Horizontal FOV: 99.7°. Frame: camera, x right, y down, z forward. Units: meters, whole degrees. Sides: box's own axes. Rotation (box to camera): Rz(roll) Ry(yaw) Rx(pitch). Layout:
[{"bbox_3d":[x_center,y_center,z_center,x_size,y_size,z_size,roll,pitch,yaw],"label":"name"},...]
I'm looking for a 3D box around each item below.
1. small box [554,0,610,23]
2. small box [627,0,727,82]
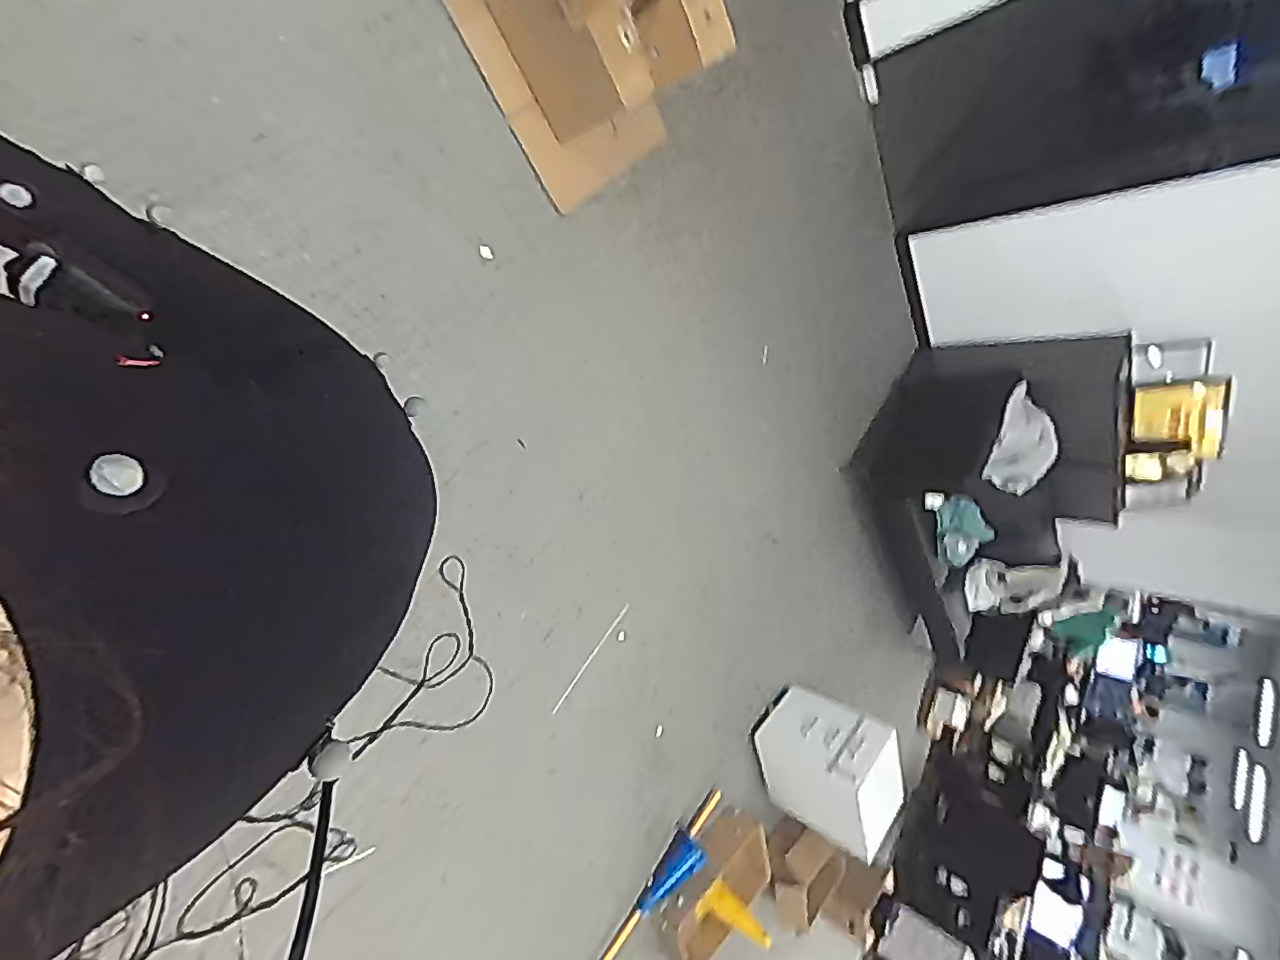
[{"bbox_3d":[-0.114,-1.212,1.249,0.179,0.176,0.168,-49,127,-24],"label":"small box"},{"bbox_3d":[0.097,-1.203,1.446,0.168,0.176,0.179,-47,125,-27],"label":"small box"}]
